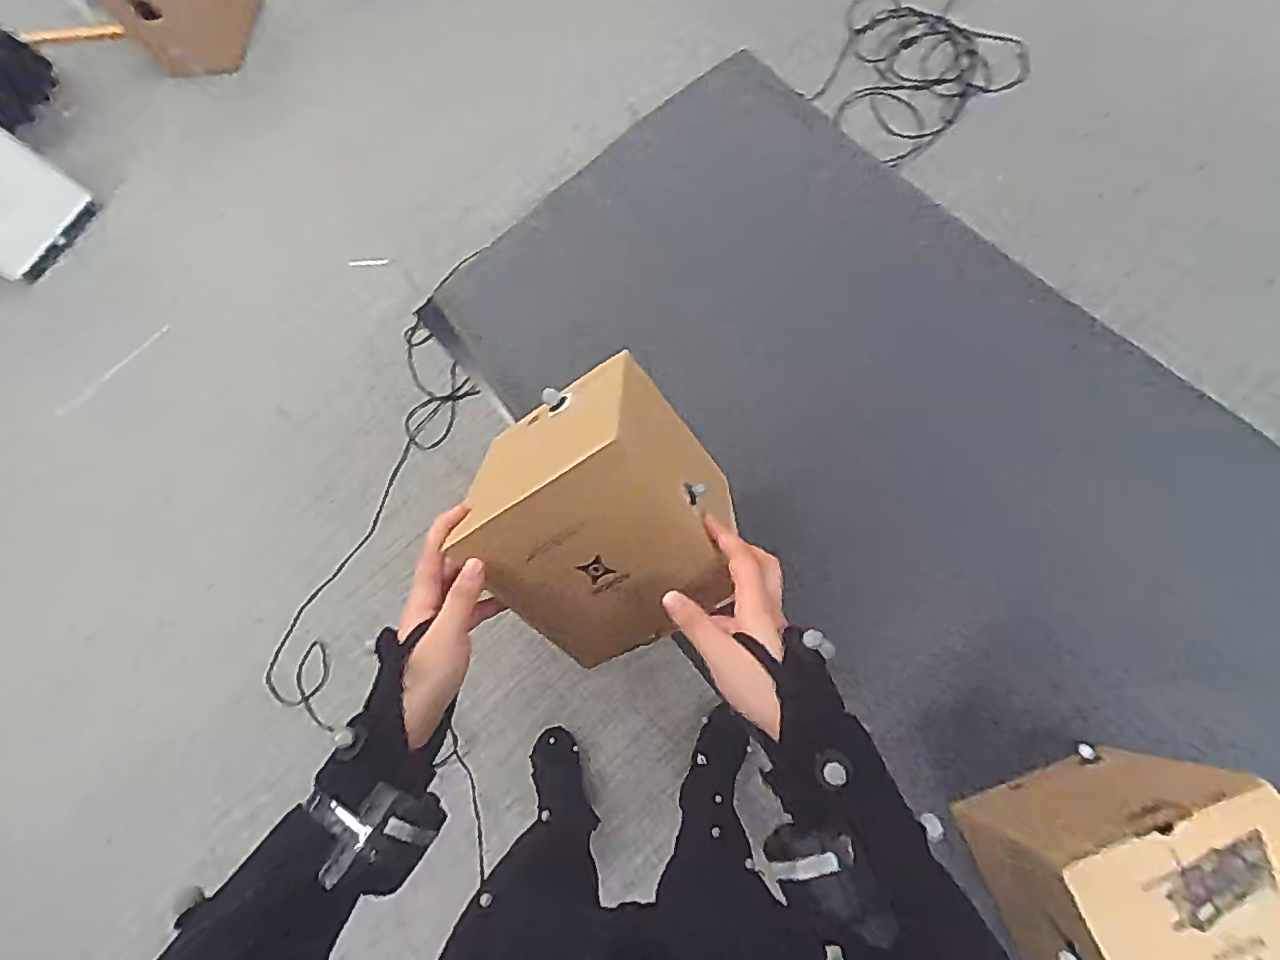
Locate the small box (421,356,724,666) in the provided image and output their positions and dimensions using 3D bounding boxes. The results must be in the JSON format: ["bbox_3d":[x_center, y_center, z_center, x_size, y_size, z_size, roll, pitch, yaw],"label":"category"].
[{"bbox_3d":[-0.047,0.023,0.477,0.168,0.179,0.176,-33,27,20],"label":"small box"}]

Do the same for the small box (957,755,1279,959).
[{"bbox_3d":[0.394,0.335,0.424,0.168,0.176,0.179,-21,71,-1],"label":"small box"}]
